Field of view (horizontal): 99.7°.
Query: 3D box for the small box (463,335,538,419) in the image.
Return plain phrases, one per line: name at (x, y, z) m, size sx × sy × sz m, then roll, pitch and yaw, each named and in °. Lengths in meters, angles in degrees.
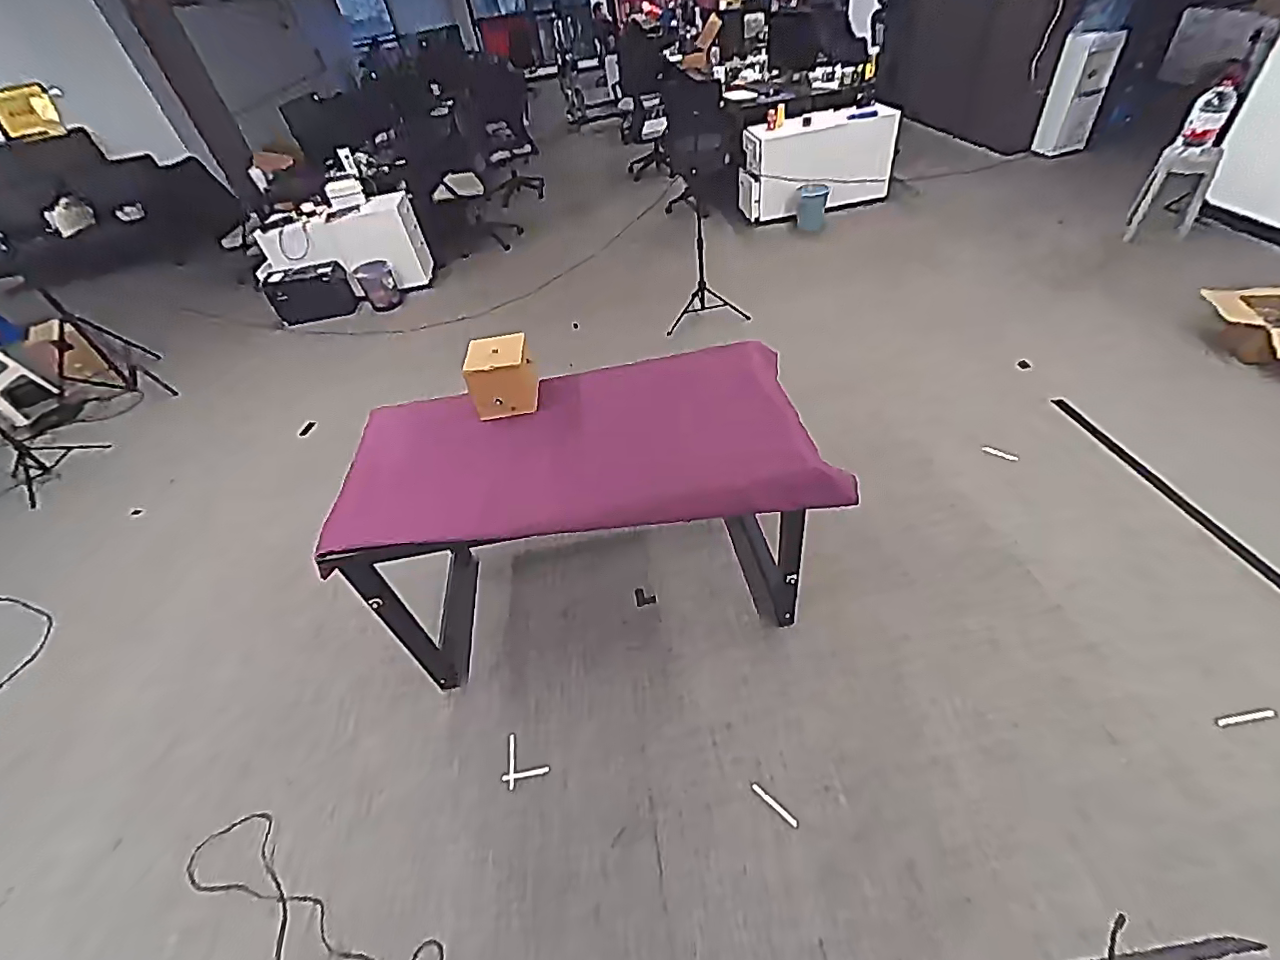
small box at (-0.402, -0.302, 1.589) m, size 0.168 × 0.176 × 0.179 m, roll -9°, pitch 44°, yaw 1°
